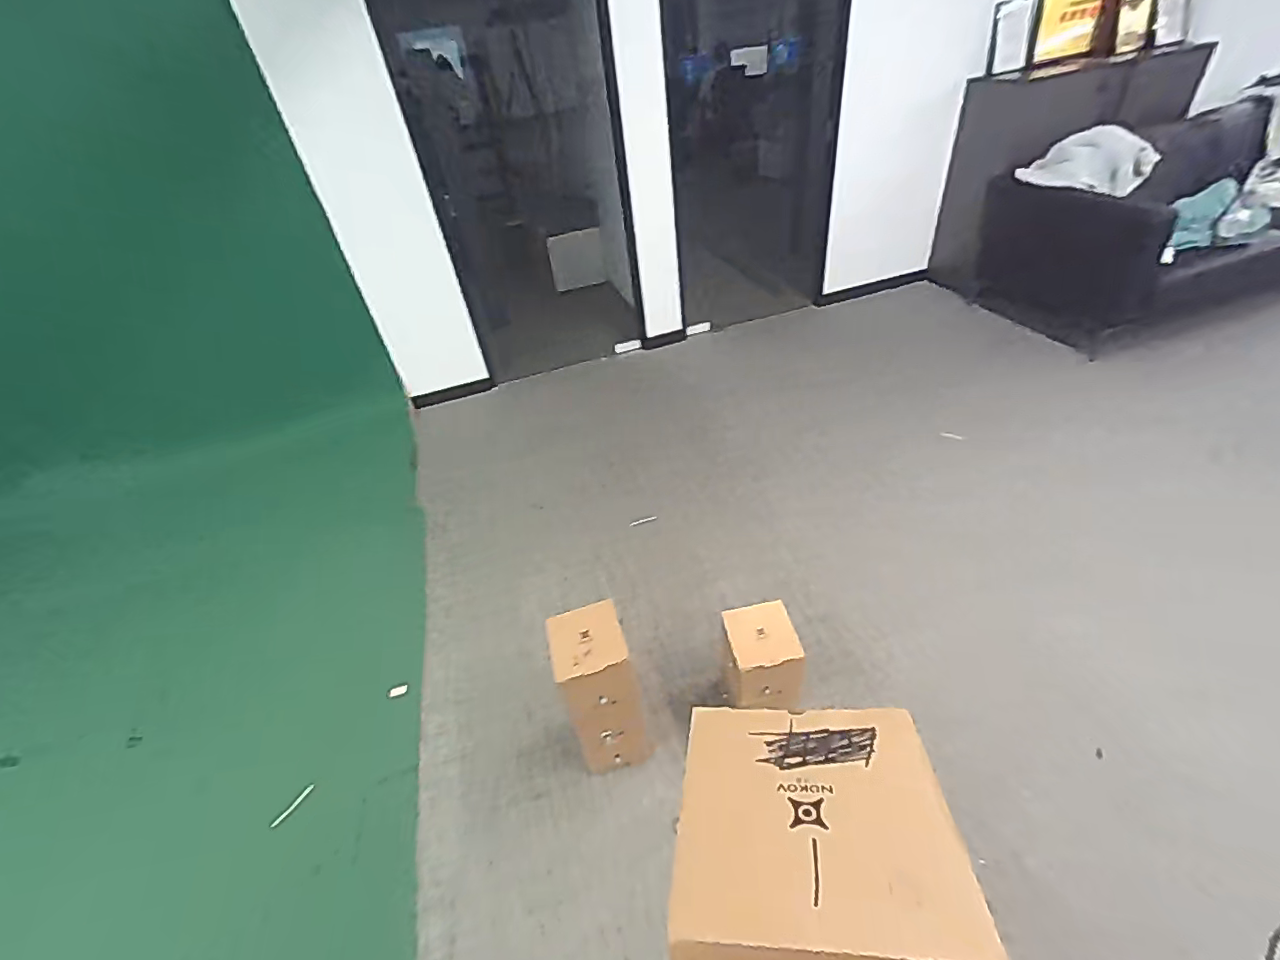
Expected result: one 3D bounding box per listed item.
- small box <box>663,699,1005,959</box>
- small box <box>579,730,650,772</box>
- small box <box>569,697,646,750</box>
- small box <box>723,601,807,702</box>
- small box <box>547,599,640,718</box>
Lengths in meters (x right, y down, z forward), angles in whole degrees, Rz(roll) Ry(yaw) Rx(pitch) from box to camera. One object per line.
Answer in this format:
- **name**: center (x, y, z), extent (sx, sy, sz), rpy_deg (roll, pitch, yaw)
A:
- **small box**: center (0.118, 0.277, 0.367), extent (0.168, 0.176, 0.179), rpy_deg (-6, 17, 14)
- **small box**: center (-0.075, 0.663, 1.464), extent (0.168, 0.176, 0.179), rpy_deg (-13, 40, -6)
- **small box**: center (-0.091, 0.539, 1.360), extent (0.168, 0.176, 0.179), rpy_deg (-16, 41, -7)
- **small box**: center (0.316, 0.445, 1.397), extent (0.168, 0.176, 0.179), rpy_deg (-11, 40, -3)
- **small box**: center (-0.108, 0.414, 1.254), extent (0.168, 0.176, 0.179), rpy_deg (-17, 40, -7)
